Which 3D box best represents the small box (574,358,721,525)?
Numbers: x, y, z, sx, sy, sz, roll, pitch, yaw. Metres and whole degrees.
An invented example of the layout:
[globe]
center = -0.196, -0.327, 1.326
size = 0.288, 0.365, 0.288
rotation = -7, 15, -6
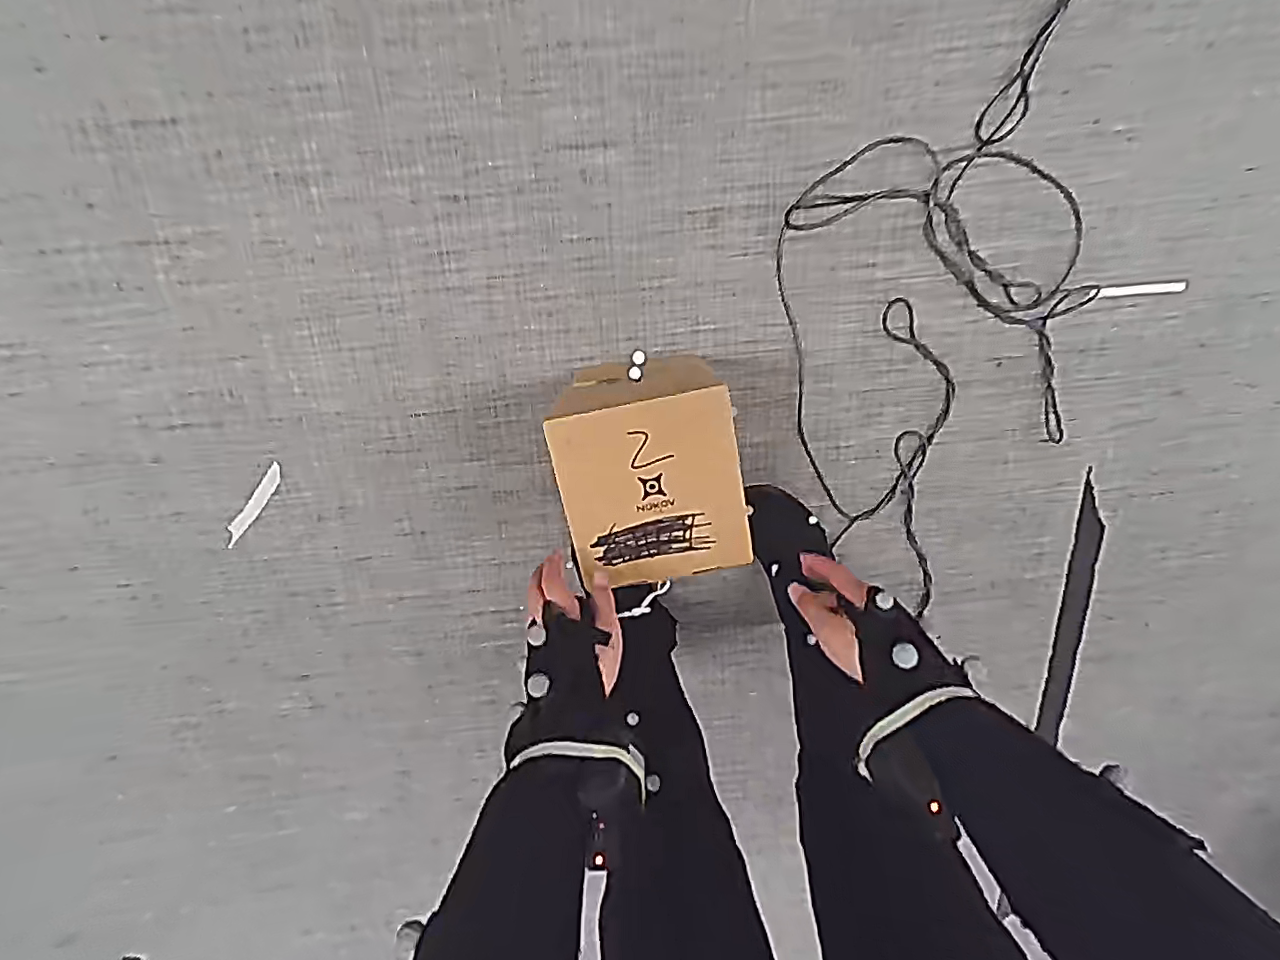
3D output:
[small box]
center = 0.011, -0.059, 0.723
size = 0.168, 0.176, 0.179
rotation = -7, 108, 0
